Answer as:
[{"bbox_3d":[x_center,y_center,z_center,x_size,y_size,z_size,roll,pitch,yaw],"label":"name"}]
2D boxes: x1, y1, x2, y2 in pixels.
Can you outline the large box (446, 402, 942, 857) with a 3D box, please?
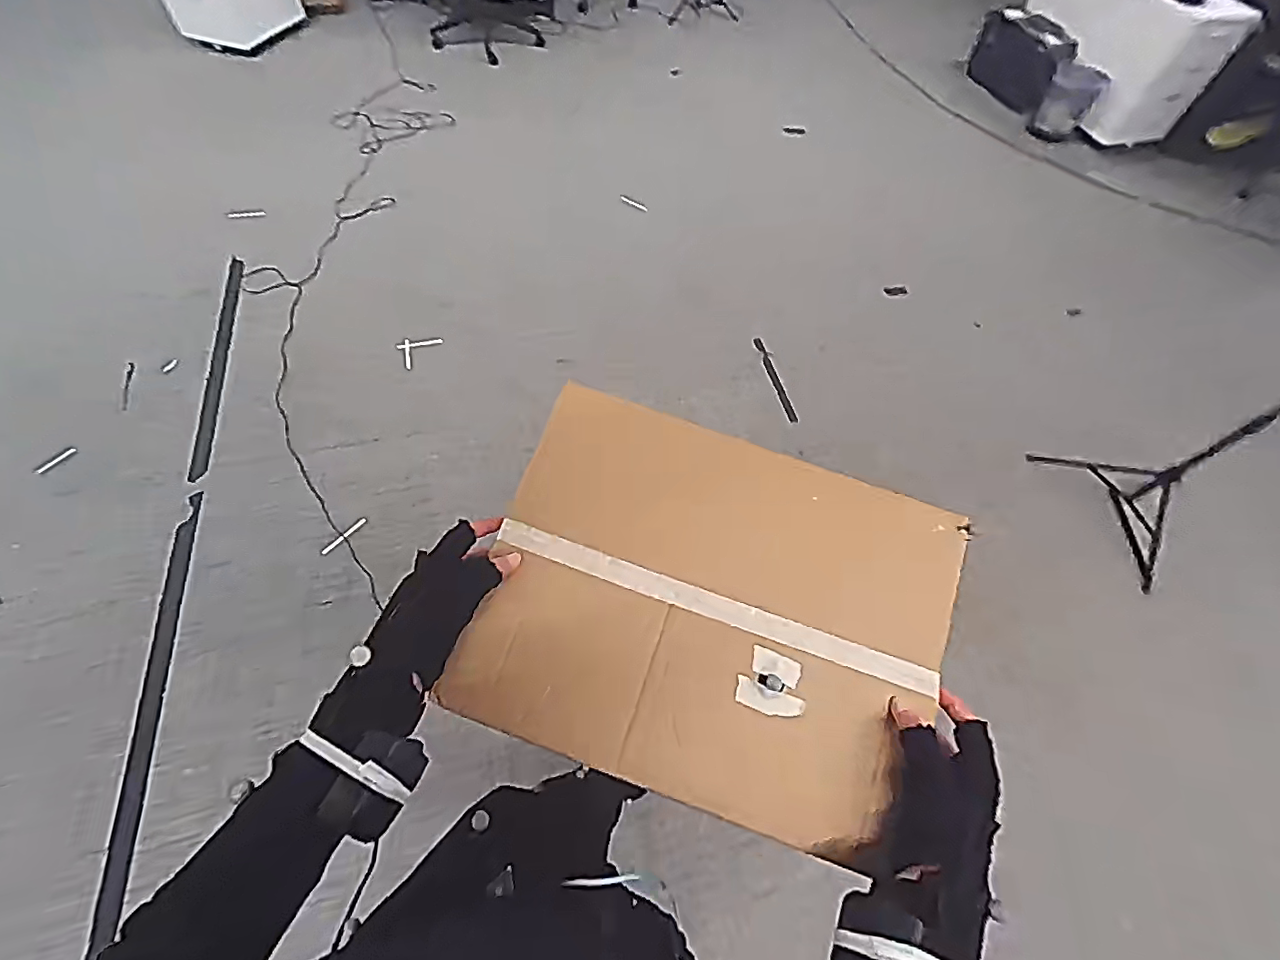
[{"bbox_3d":[0.057,0.158,0.643,0.408,0.320,0.320,19,75,4],"label":"large box"}]
